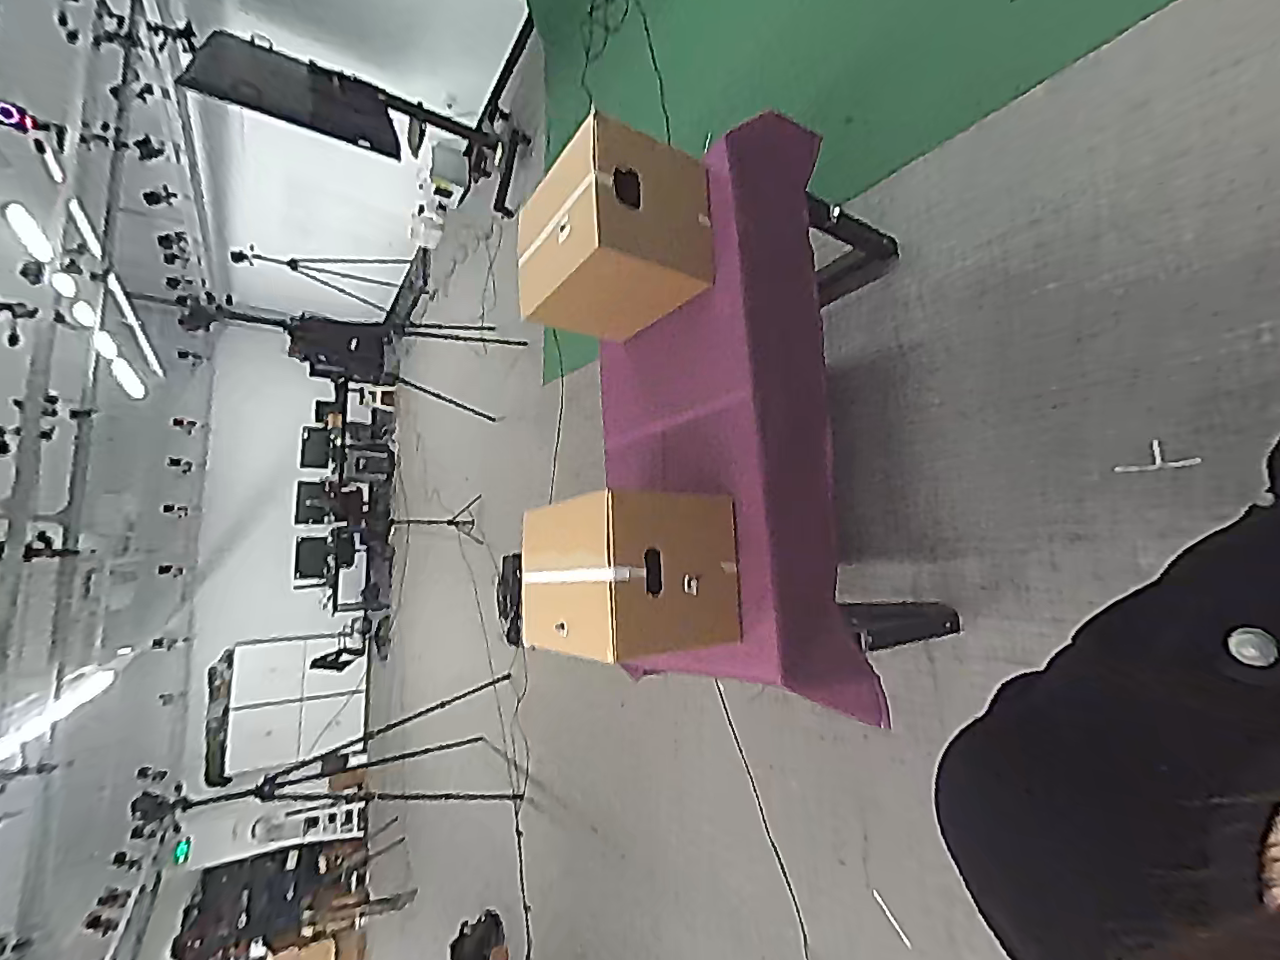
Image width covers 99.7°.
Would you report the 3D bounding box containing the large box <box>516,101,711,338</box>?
[{"bbox_3d":[-0.077,-0.592,1.329,0.408,0.320,0.320,-13,77,53],"label":"large box"}]
